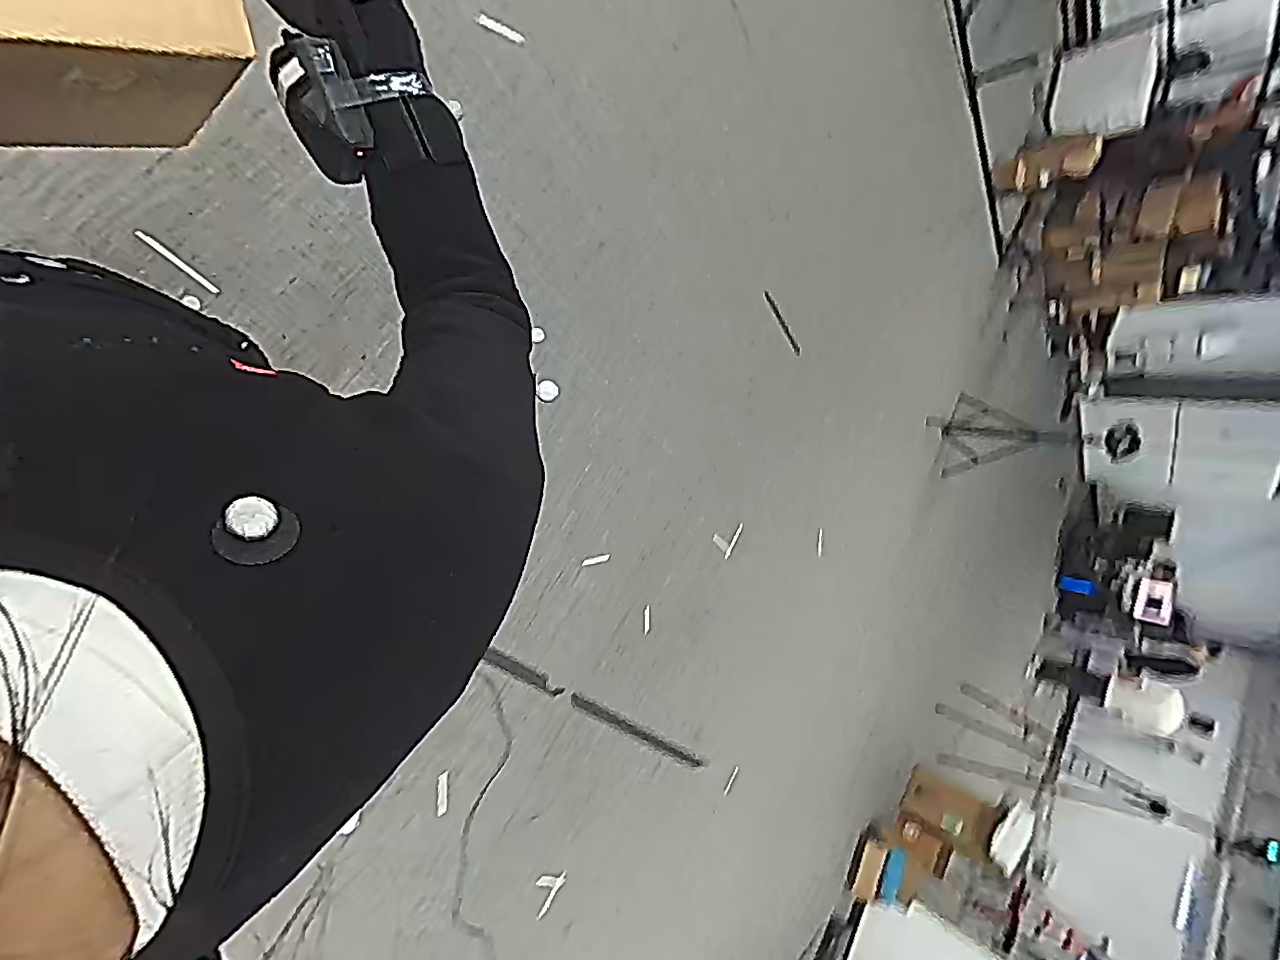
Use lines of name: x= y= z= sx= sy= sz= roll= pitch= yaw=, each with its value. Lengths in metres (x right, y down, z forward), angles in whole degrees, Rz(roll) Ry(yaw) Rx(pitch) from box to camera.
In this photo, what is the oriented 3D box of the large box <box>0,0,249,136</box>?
large box: x=-0.486 y=-0.352 z=0.231 sx=0.408 sy=0.320 sz=0.320 roll=-27 pitch=124 yaw=-38
